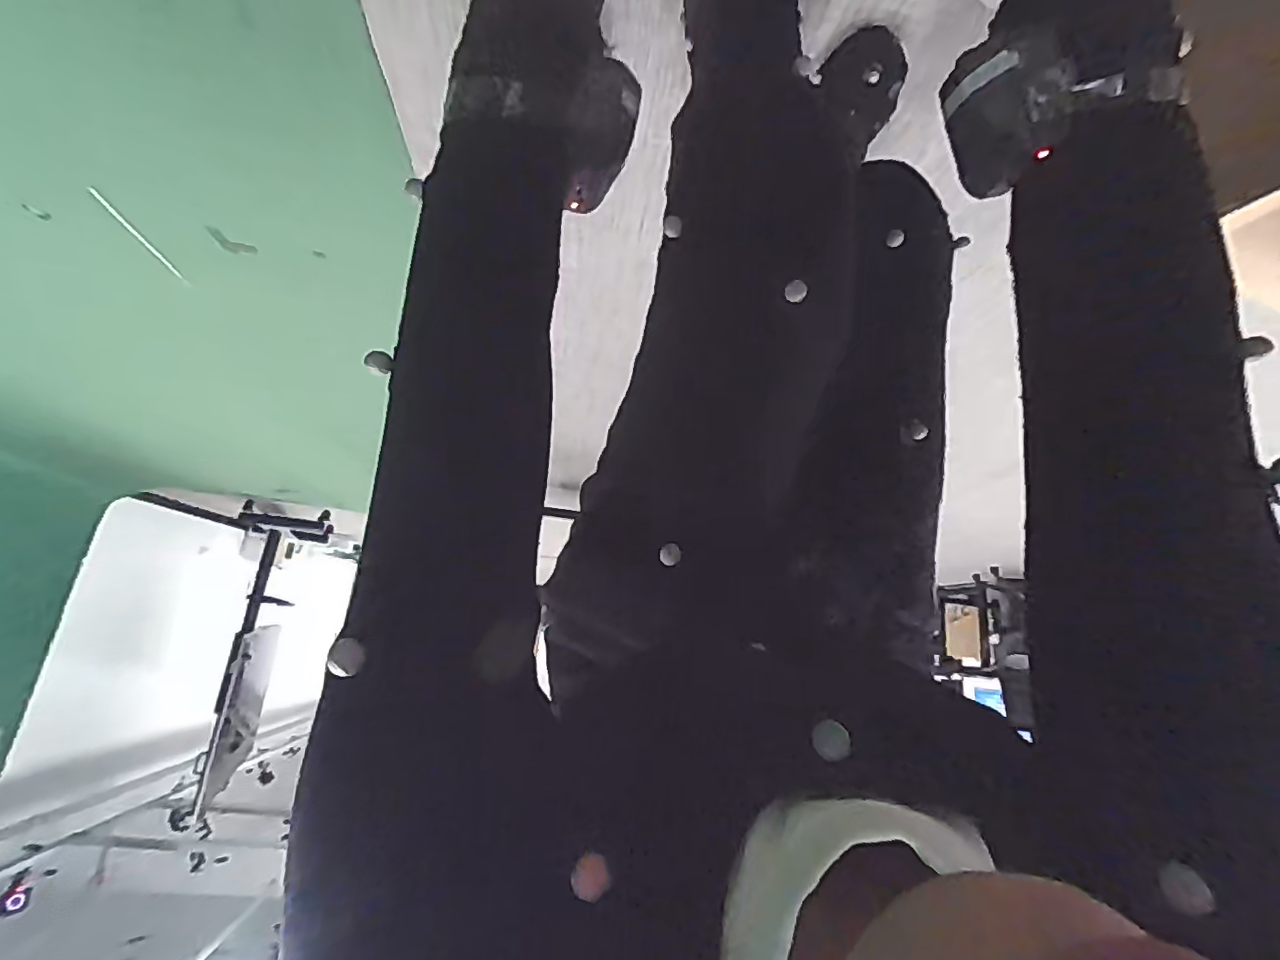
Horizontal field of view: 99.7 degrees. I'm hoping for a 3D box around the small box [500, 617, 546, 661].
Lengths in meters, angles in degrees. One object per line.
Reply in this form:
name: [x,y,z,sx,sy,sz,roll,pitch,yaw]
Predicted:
small box: [-0.524,0.711,2.425,0.168,0.176,0.179,12,166,-18]
